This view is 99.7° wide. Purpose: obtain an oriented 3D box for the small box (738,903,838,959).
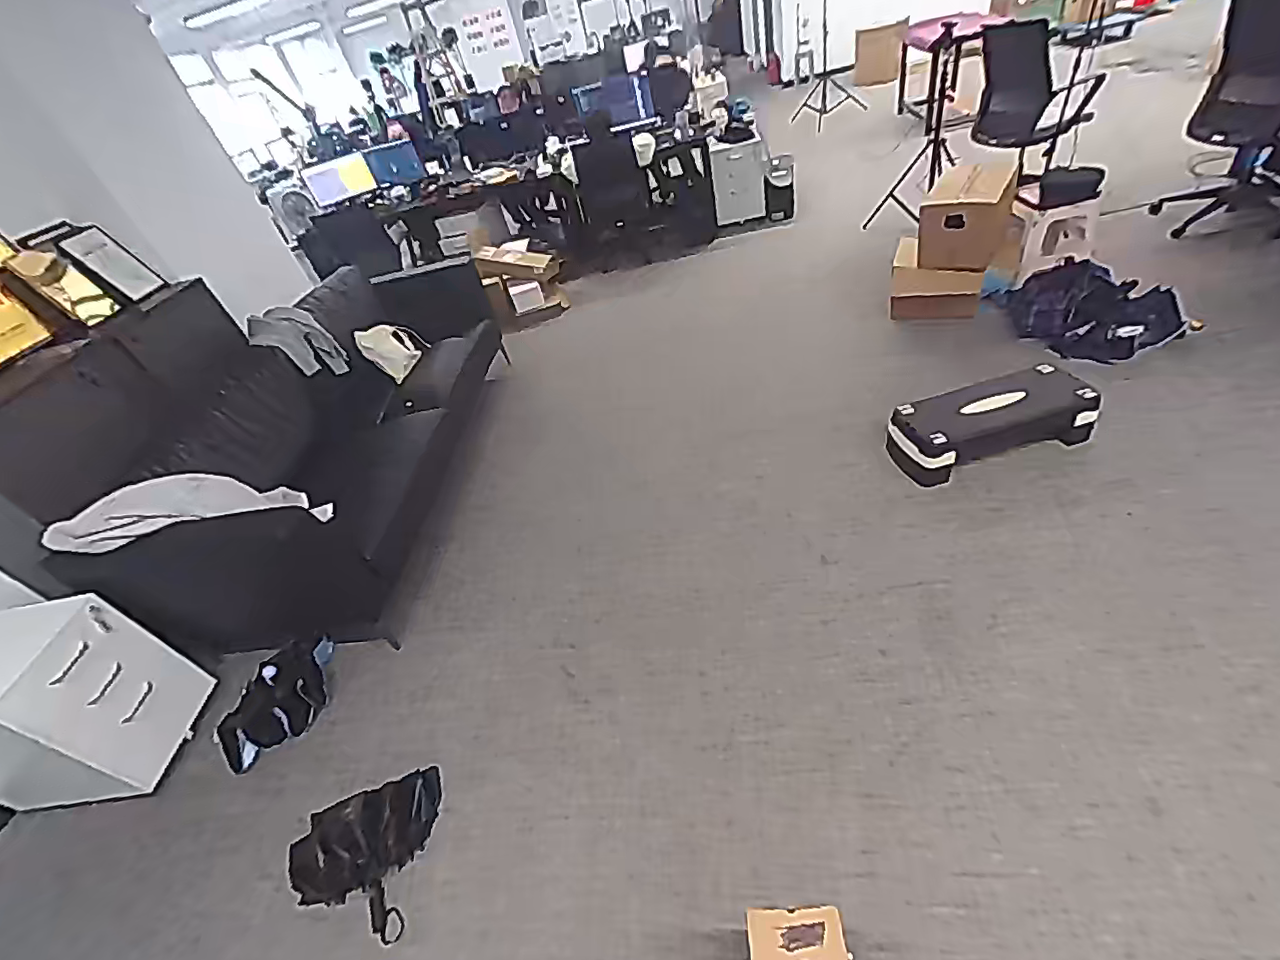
[{"bbox_3d":[0.275,0.893,0.975,0.168,0.176,0.179,-9,41,9],"label":"small box"}]
